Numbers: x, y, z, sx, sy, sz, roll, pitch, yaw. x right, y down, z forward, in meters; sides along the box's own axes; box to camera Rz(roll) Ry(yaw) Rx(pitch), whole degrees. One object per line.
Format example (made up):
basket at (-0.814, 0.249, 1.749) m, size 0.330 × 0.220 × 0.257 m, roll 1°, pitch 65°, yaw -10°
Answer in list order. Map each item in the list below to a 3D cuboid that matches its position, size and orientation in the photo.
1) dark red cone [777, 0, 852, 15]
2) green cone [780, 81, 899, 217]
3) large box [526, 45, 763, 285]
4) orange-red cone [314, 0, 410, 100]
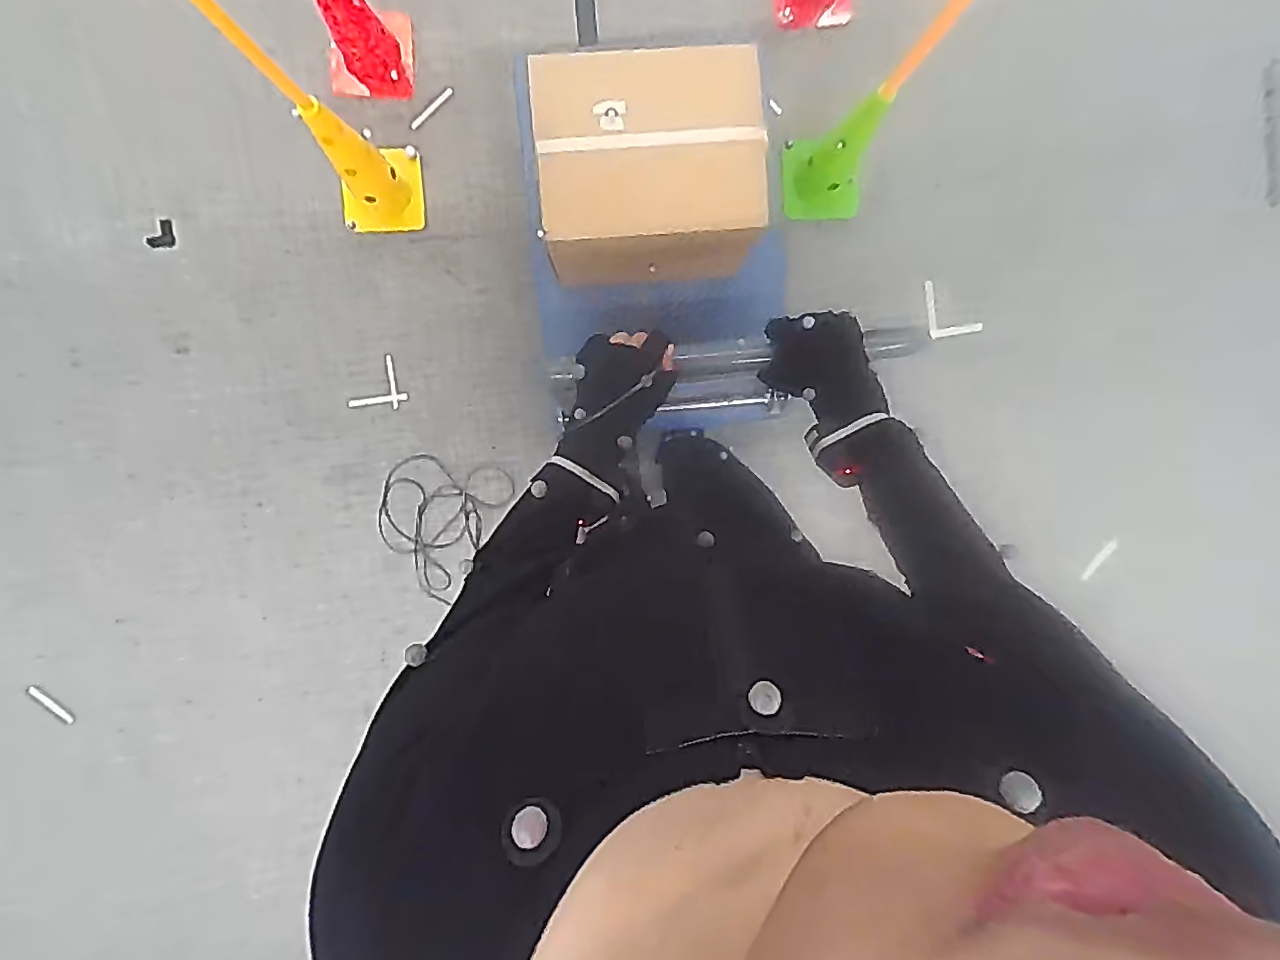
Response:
dark red cone at (0.449, -1.268, 1.204) m, size 0.201 × 0.394 × 0.202 m, roll -7°, pitch 95°, yaw -4°
green cone at (0.482, -0.786, 1.258) m, size 0.202 × 0.368 × 0.200 m, roll -3°, pitch 94°, yaw -4°
large box at (0.008, -0.605, 1.102) m, size 0.408 × 0.320 × 0.320 m, roll -5°, pitch 94°, yaw -2°
orange-red cone at (-0.665, -1.051, 1.182) m, size 0.198 × 0.360 × 0.199 m, roll 1°, pitch 93°, yaw -4°
